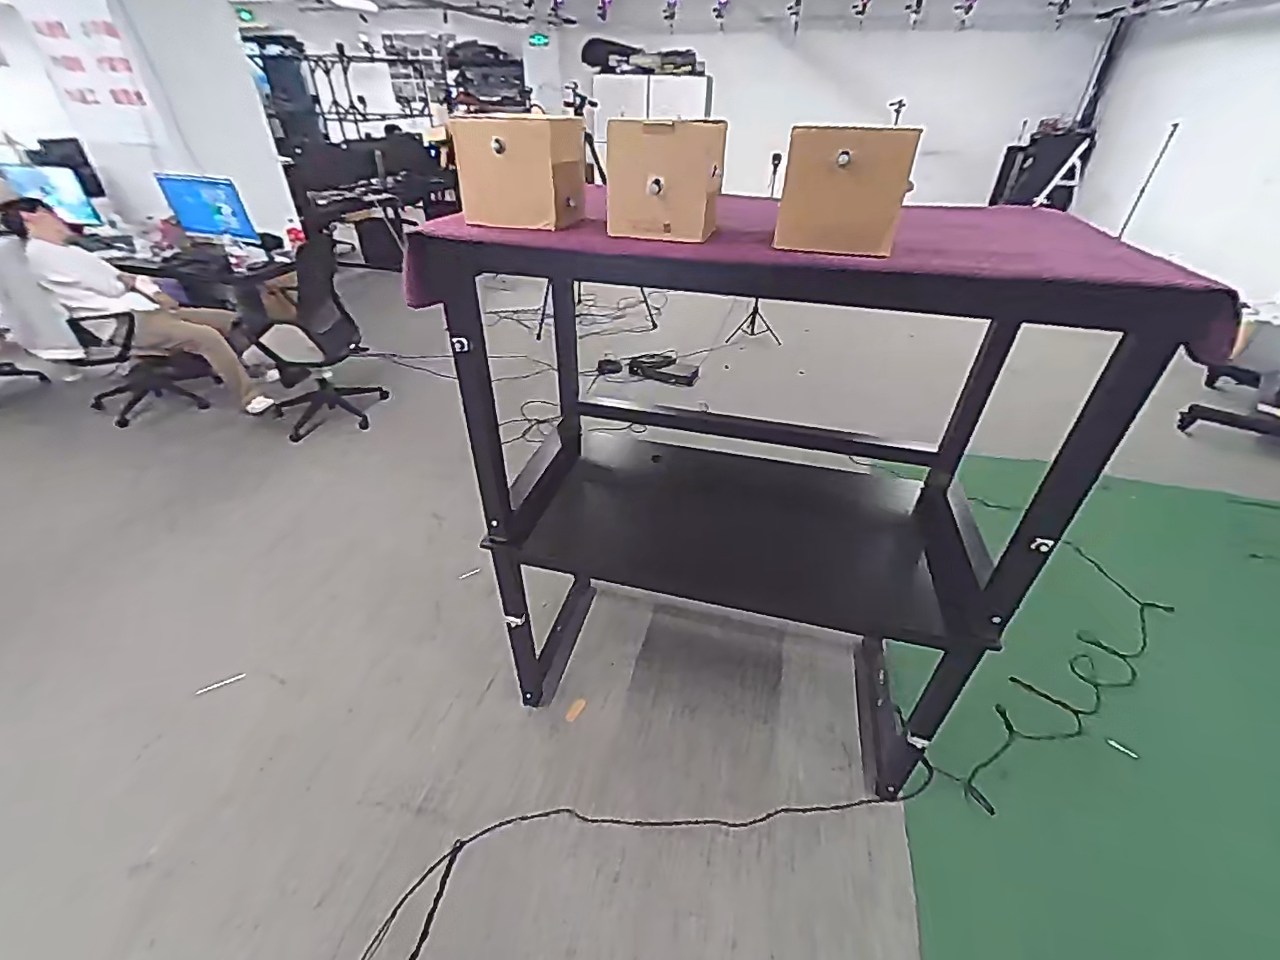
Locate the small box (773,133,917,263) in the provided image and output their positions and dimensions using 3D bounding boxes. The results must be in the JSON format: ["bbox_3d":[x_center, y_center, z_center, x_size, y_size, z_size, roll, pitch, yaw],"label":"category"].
[{"bbox_3d":[0.319,-0.454,0.869,0.179,0.176,0.168,9,34,13],"label":"small box"}]

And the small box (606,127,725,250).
[{"bbox_3d":[0.047,-0.501,0.927,0.168,0.176,0.179,10,35,11],"label":"small box"}]

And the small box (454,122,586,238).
[{"bbox_3d":[-0.206,-0.544,0.979,0.179,0.176,0.168,9,36,10],"label":"small box"}]
